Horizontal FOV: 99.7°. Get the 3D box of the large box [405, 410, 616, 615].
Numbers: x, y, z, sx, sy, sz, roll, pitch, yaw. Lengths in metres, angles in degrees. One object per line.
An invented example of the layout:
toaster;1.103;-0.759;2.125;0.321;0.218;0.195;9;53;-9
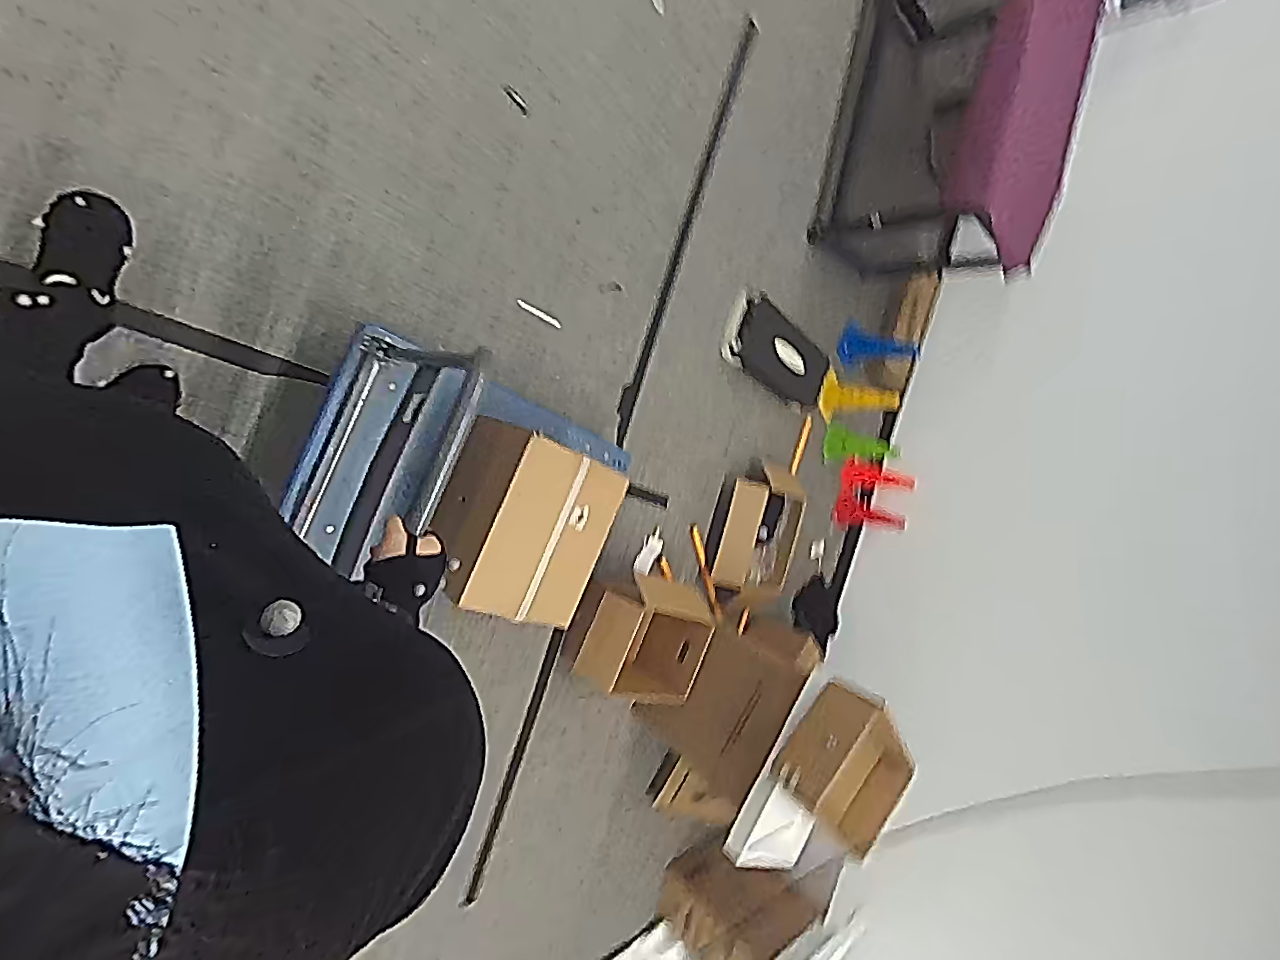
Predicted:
large box;-0.328;0.078;1.364;0.320;0.320;0.408;27;83;-44
